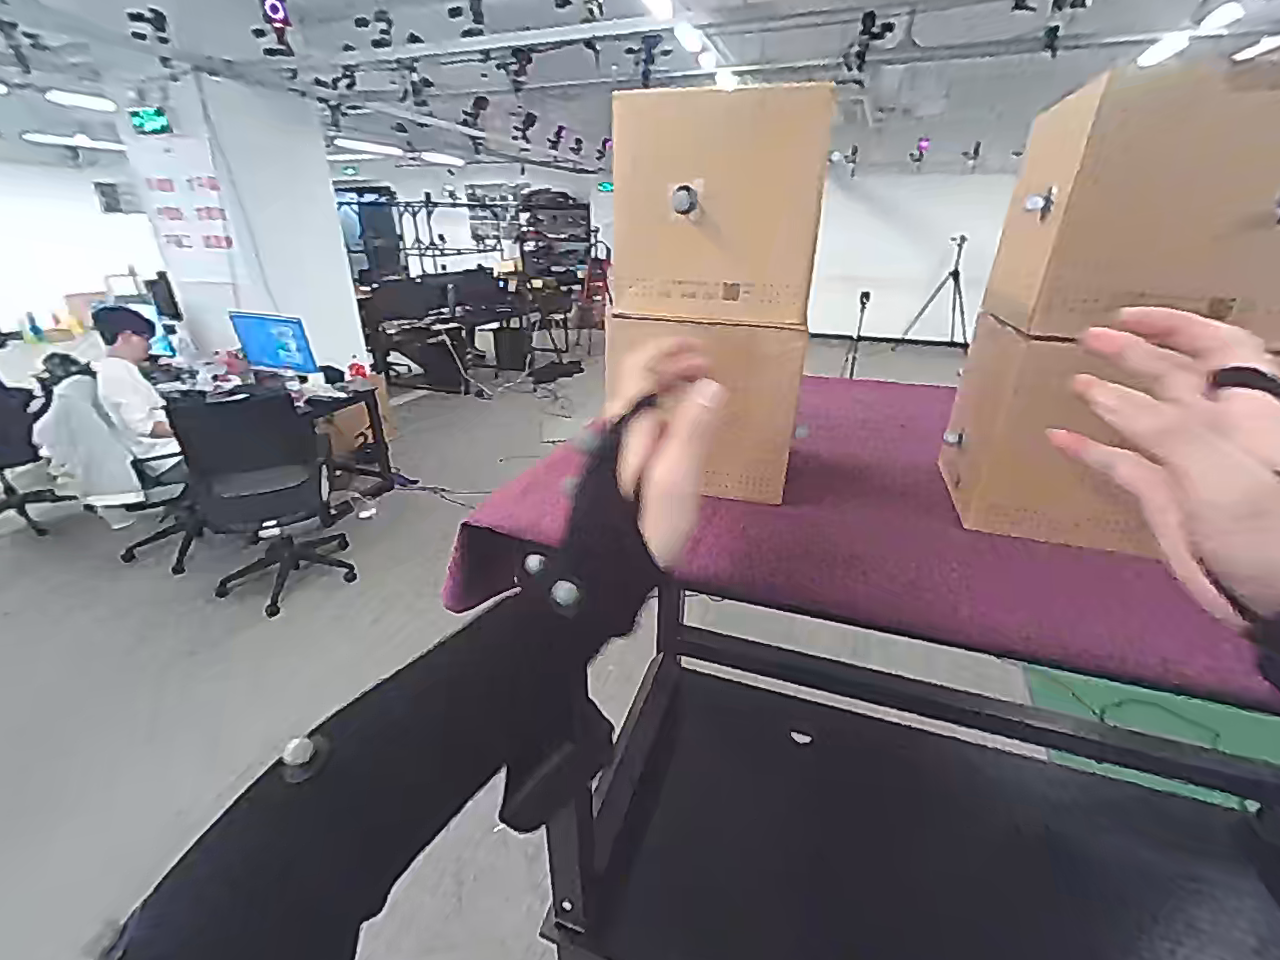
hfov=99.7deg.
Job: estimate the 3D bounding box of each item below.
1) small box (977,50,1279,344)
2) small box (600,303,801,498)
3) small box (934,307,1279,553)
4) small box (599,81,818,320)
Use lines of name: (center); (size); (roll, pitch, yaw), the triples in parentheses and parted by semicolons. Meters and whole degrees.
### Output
small box: (0.384, -0.203, 0.415); (0.168, 0.176, 0.179); (10, 26, 18)
small box: (0.067, -0.094, 0.566); (0.179, 0.176, 0.168); (8, 27, 14)
small box: (0.385, -0.053, 0.479); (0.179, 0.176, 0.168); (8, 26, 18)
small box: (0.071, -0.243, 0.503); (0.168, 0.176, 0.179); (7, 25, 14)
